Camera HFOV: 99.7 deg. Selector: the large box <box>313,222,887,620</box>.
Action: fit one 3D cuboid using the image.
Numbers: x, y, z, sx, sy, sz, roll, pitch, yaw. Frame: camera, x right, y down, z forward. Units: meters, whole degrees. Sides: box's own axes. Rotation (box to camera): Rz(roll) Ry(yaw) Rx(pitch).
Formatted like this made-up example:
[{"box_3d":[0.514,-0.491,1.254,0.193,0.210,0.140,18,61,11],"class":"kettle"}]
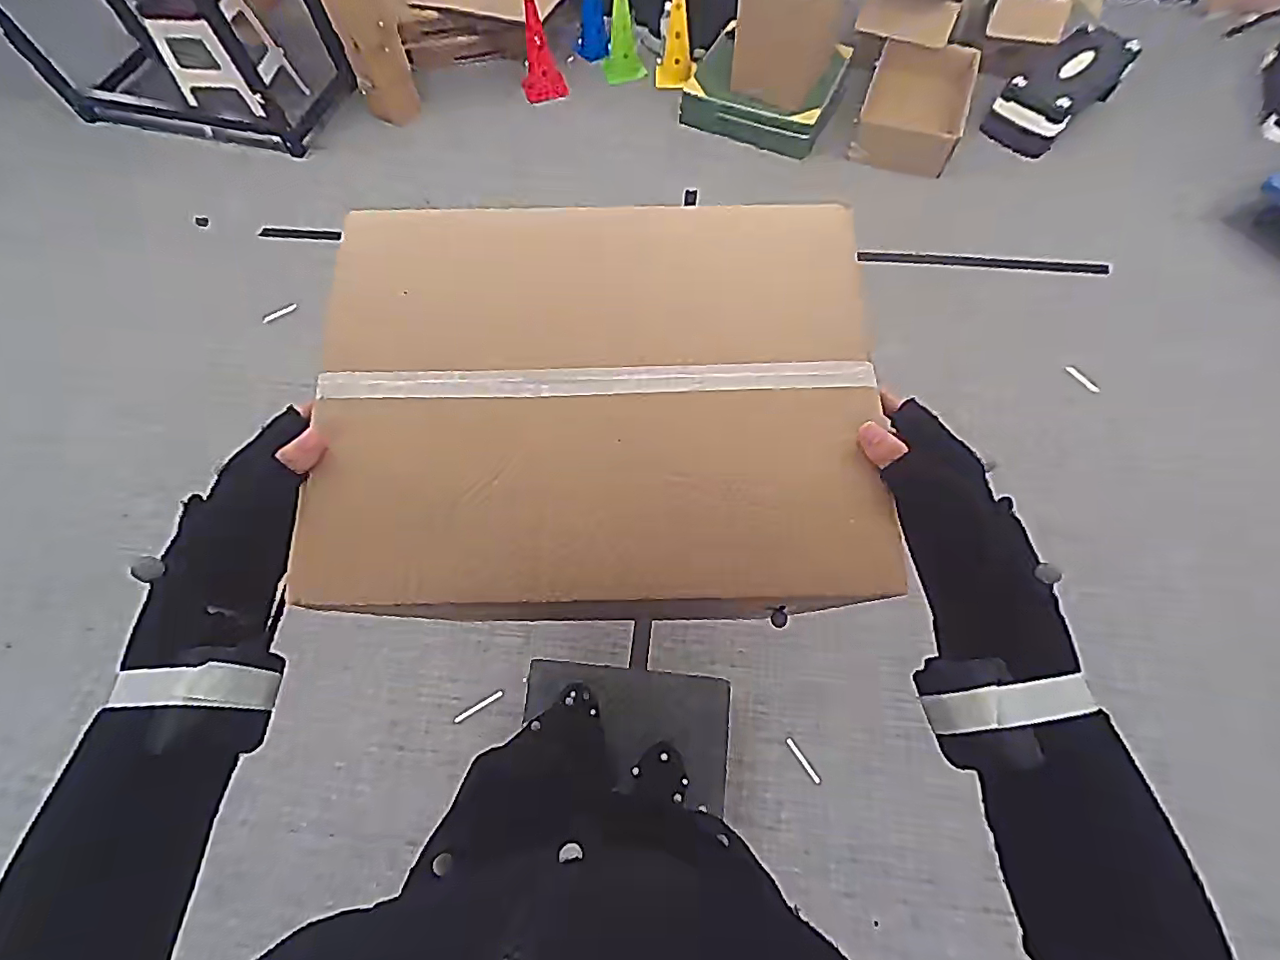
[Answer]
[{"box_3d":[-0.029,-0.023,0.553,0.408,0.320,0.320,-1,73,0],"class":"large box"}]
